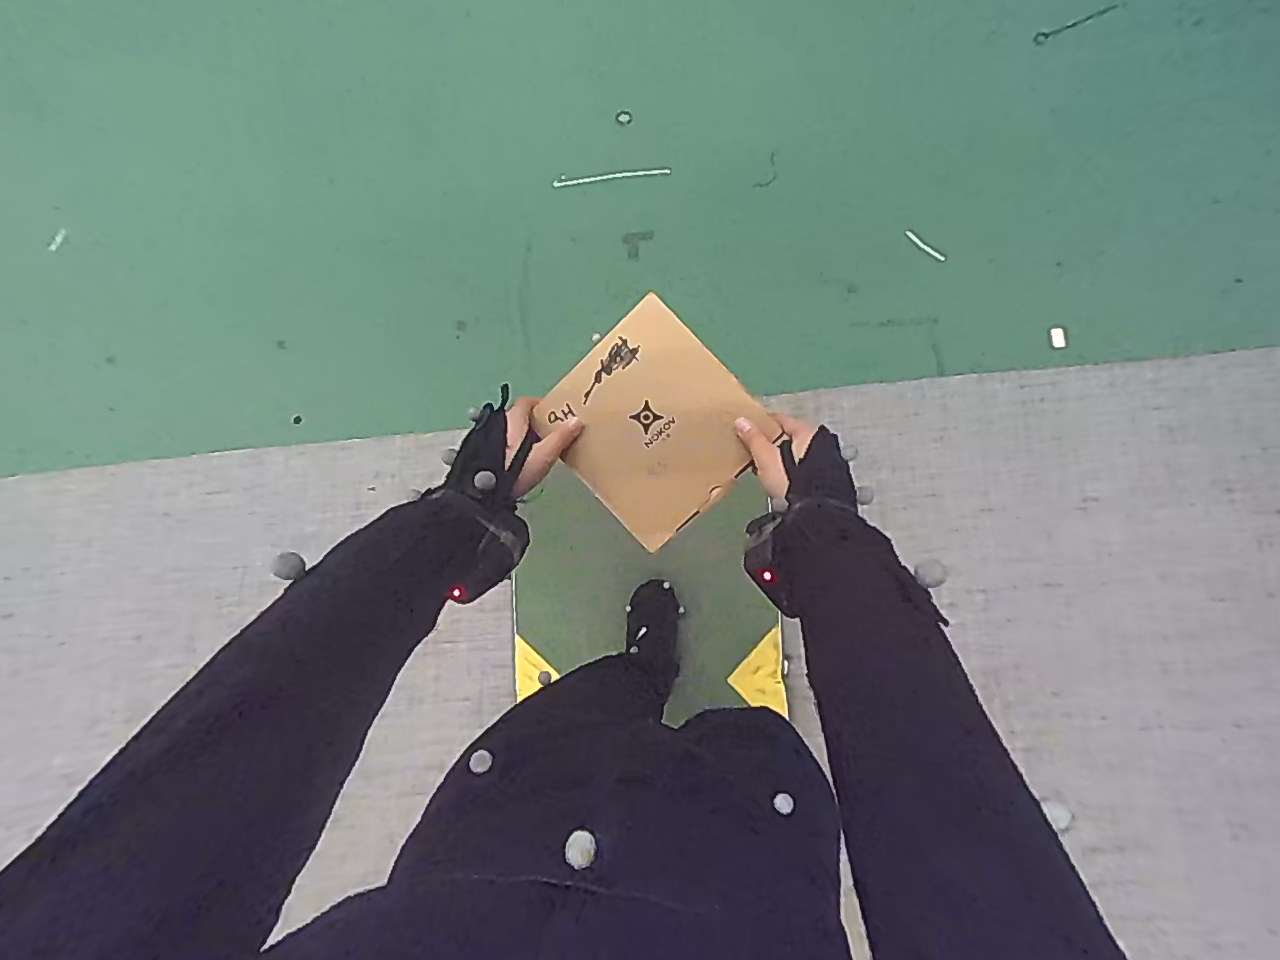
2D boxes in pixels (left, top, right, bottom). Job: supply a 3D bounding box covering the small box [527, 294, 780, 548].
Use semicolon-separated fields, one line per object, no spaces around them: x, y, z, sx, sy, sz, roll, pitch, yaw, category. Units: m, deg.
0.016;-0.058;0.571;0.168;0.176;0.179;-43;90;5;small box
